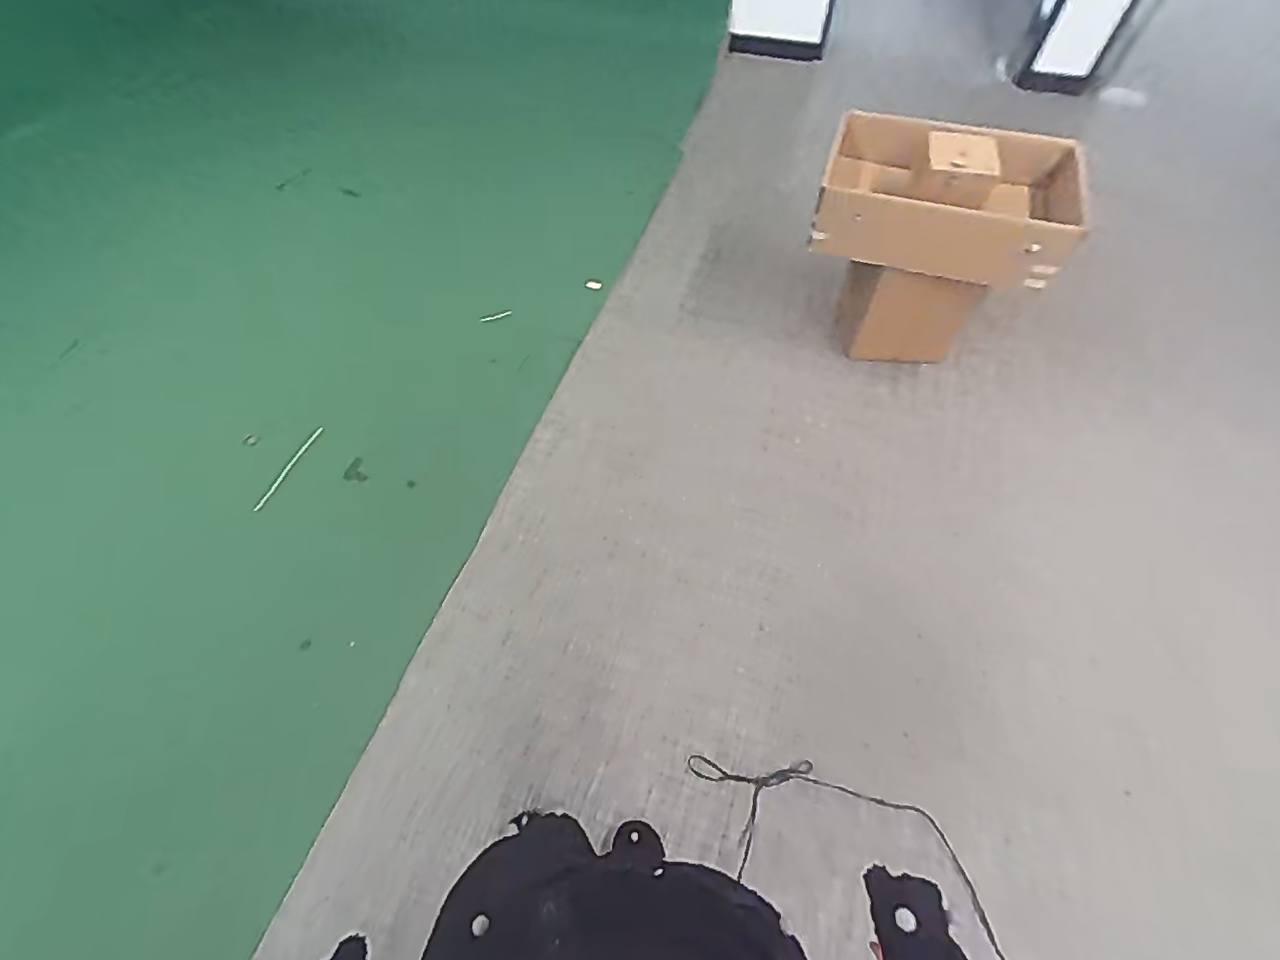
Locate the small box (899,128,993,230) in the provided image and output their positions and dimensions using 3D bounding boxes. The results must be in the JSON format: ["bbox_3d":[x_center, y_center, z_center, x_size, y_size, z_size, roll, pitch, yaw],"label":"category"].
[{"bbox_3d":[0.804,-0.800,1.439,0.168,0.176,0.179,9,60,9],"label":"small box"}]
